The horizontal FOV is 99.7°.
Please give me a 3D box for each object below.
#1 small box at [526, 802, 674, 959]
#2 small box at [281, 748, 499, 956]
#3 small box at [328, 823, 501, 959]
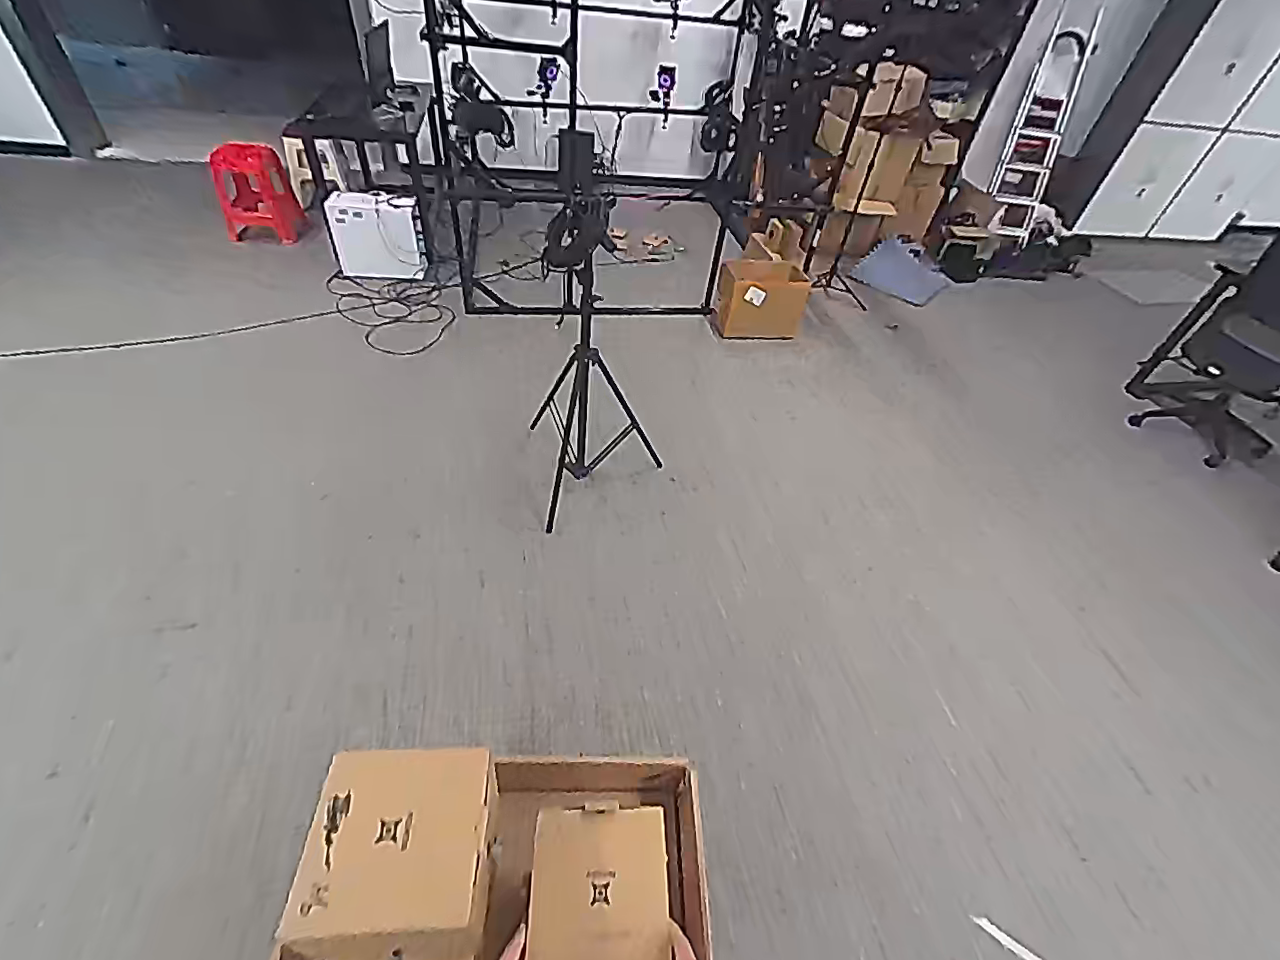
[{"bbox_3d":[-0.056,0.540,0.699,0.168,0.176,0.179,4,44,-7],"label":"small box"},{"bbox_3d":[-0.260,0.425,0.618,0.179,0.176,0.168,4,43,-8],"label":"small box"},{"bbox_3d":[-0.282,0.549,0.723,0.168,0.176,0.179,4,43,-7],"label":"small box"}]
